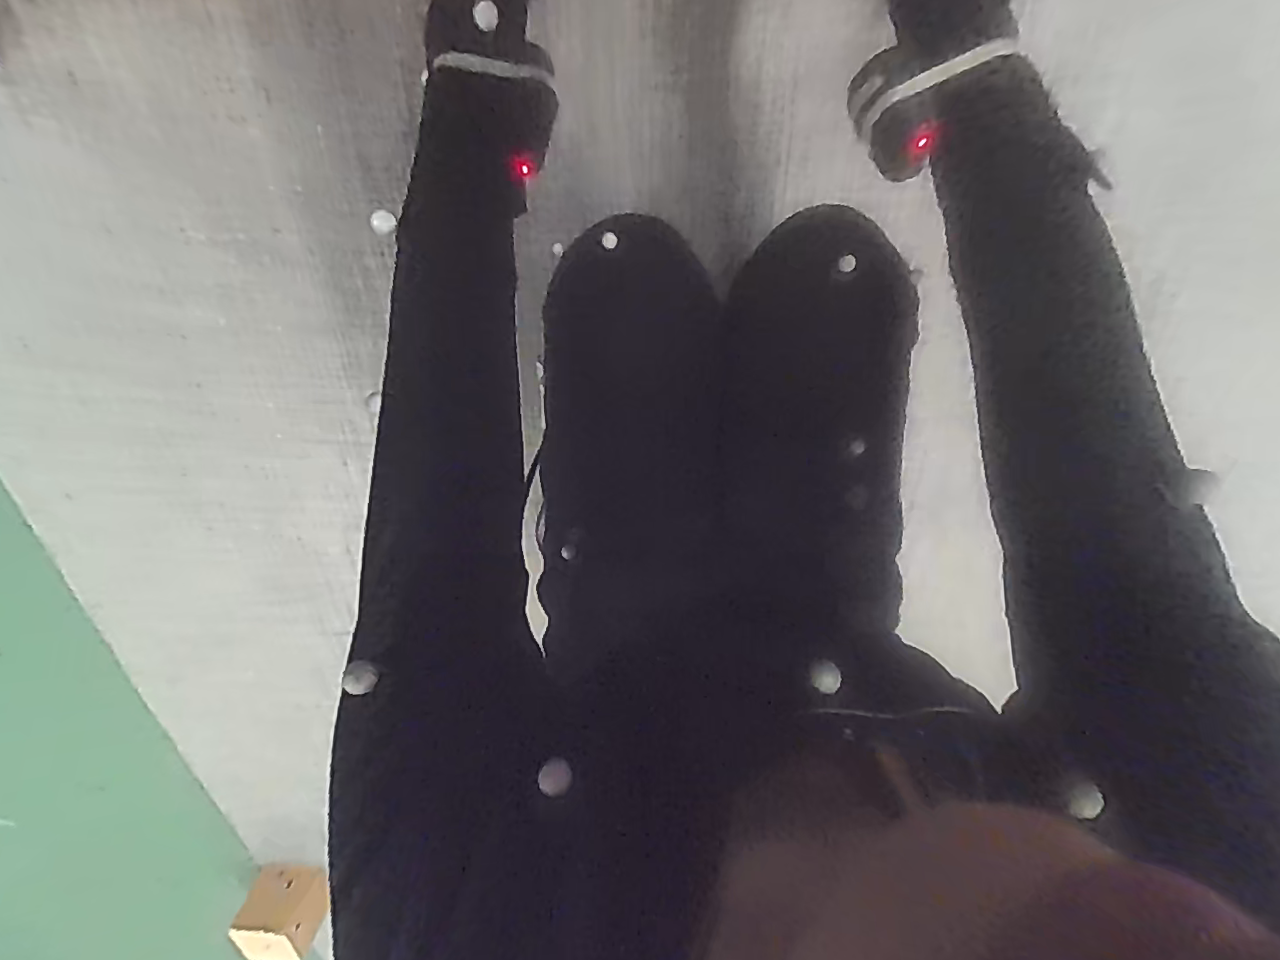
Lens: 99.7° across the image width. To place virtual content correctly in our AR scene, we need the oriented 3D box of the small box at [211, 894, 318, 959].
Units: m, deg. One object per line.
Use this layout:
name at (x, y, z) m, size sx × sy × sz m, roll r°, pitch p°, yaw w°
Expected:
small box at (-1.028, 1.288, 1.495) m, size 0.168 × 0.176 × 0.179 m, roll 2°, pitch 116°, yaw 2°
